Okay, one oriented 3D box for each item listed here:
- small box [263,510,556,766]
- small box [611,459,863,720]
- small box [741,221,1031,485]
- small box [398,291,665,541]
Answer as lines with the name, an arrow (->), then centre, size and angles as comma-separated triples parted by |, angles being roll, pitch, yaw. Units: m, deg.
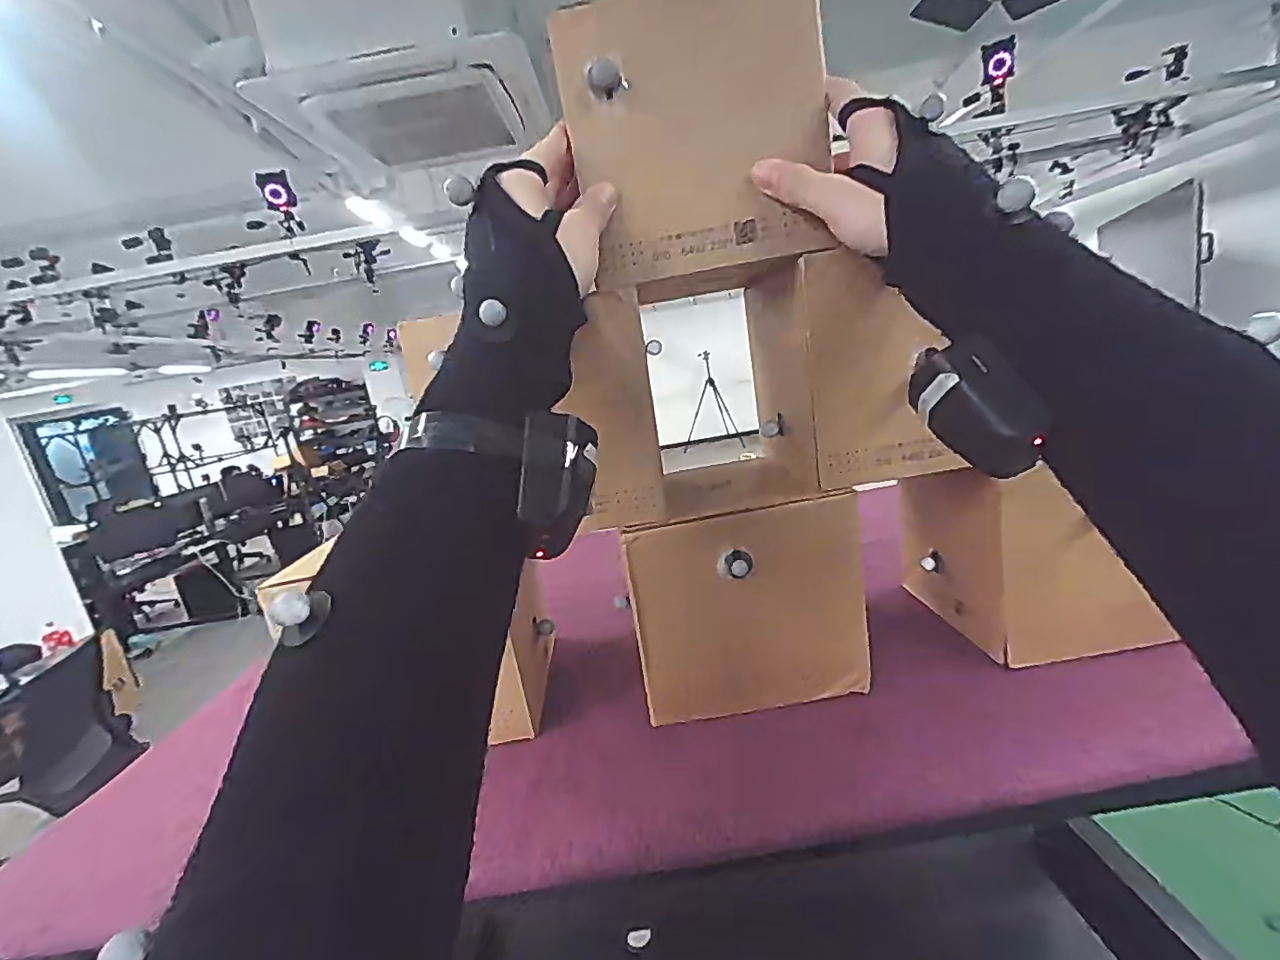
small box -> -0.186, 0.130, 0.495 | 0.179, 0.176, 0.168 | -10, 14, -1
small box -> 0.078, 0.088, 0.481 | 0.179, 0.176, 0.168 | -10, 13, 1
small box -> 0.192, -0.096, 0.456 | 0.168, 0.176, 0.179 | -10, 13, 1
small box -> -0.072, -0.052, 0.463 | 0.168, 0.176, 0.179 | -8, 12, 2
